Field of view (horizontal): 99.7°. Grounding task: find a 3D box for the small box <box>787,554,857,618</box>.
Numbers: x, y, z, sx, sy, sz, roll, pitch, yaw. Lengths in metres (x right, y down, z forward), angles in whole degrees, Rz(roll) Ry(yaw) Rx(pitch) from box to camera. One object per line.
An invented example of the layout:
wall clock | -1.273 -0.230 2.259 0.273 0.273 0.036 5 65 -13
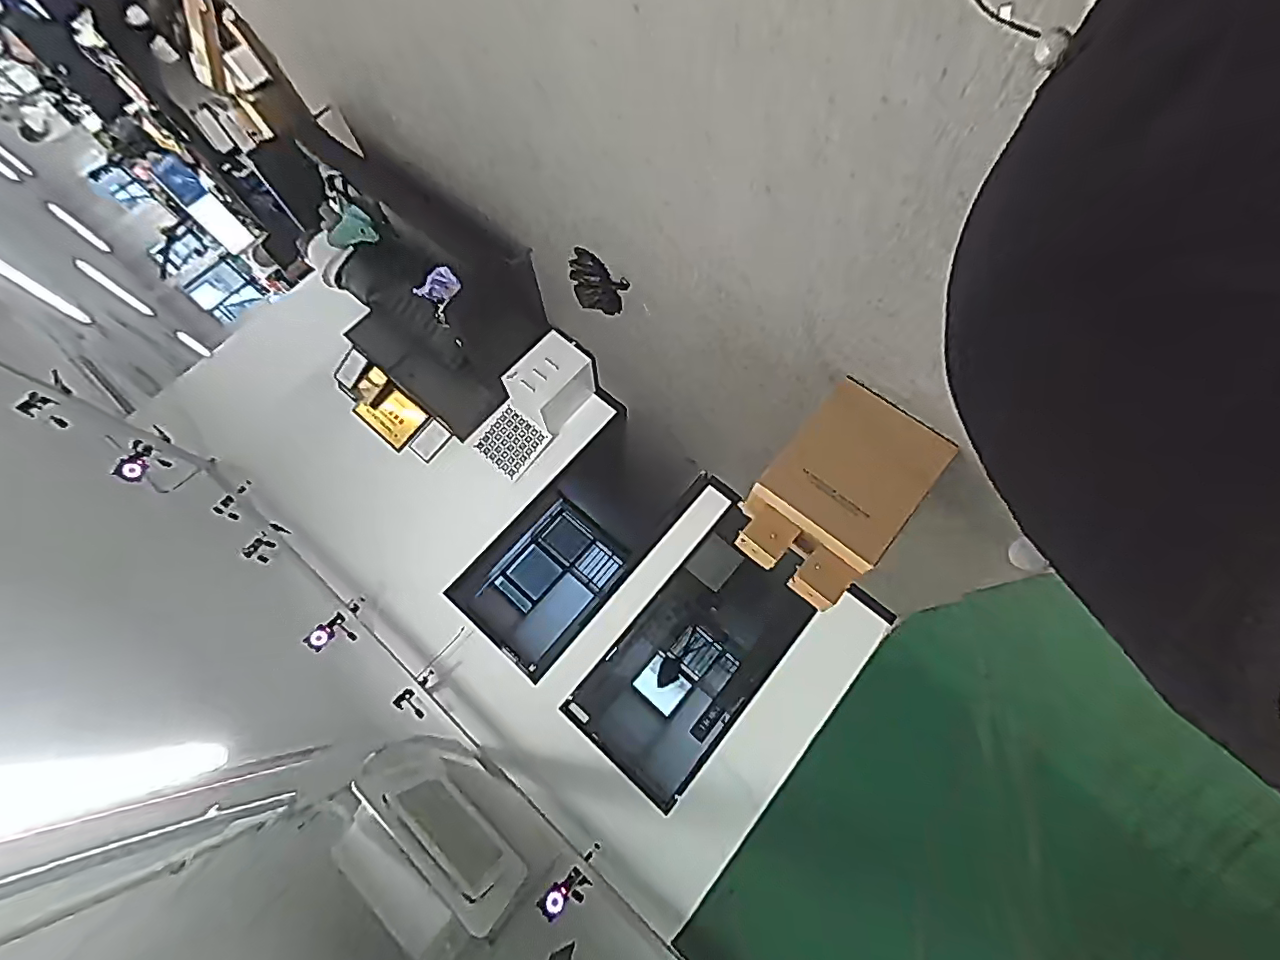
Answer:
small box | 0.712 0.410 2.124 0.179 0.176 0.168 37 162 16

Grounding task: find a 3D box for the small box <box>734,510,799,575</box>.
small box | 0.513 0.253 2.191 0.179 0.176 0.168 39 161 13
